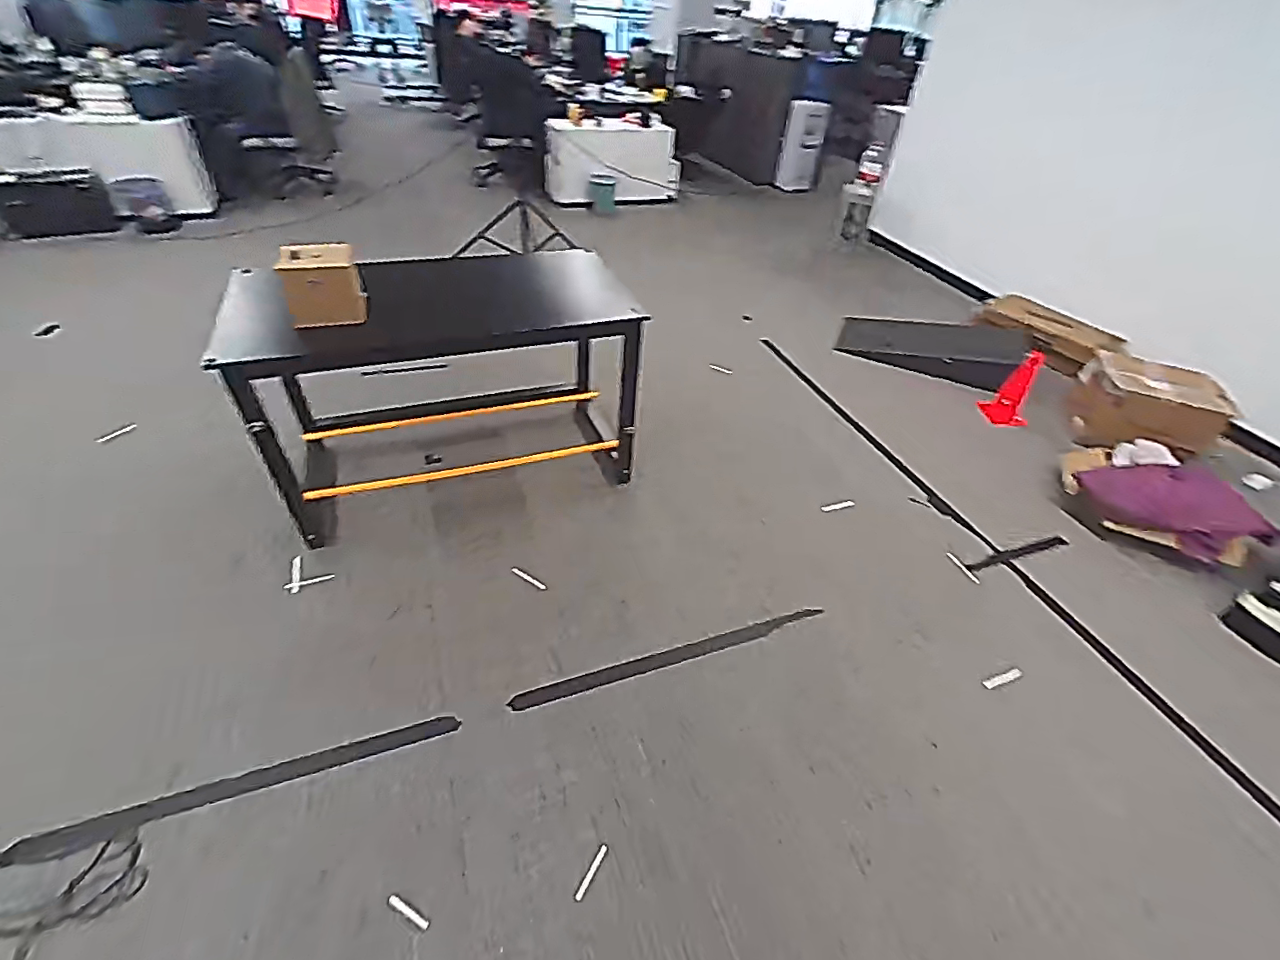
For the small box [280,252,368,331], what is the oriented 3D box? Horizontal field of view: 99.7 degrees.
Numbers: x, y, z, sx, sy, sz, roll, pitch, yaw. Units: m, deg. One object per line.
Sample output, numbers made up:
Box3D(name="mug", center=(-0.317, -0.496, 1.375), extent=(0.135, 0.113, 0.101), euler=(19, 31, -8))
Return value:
Box3D(name="small box", center=(-0.896, -0.537, 1.546), extent=(0.179, 0.176, 0.168), euler=(-10, 44, -18))
